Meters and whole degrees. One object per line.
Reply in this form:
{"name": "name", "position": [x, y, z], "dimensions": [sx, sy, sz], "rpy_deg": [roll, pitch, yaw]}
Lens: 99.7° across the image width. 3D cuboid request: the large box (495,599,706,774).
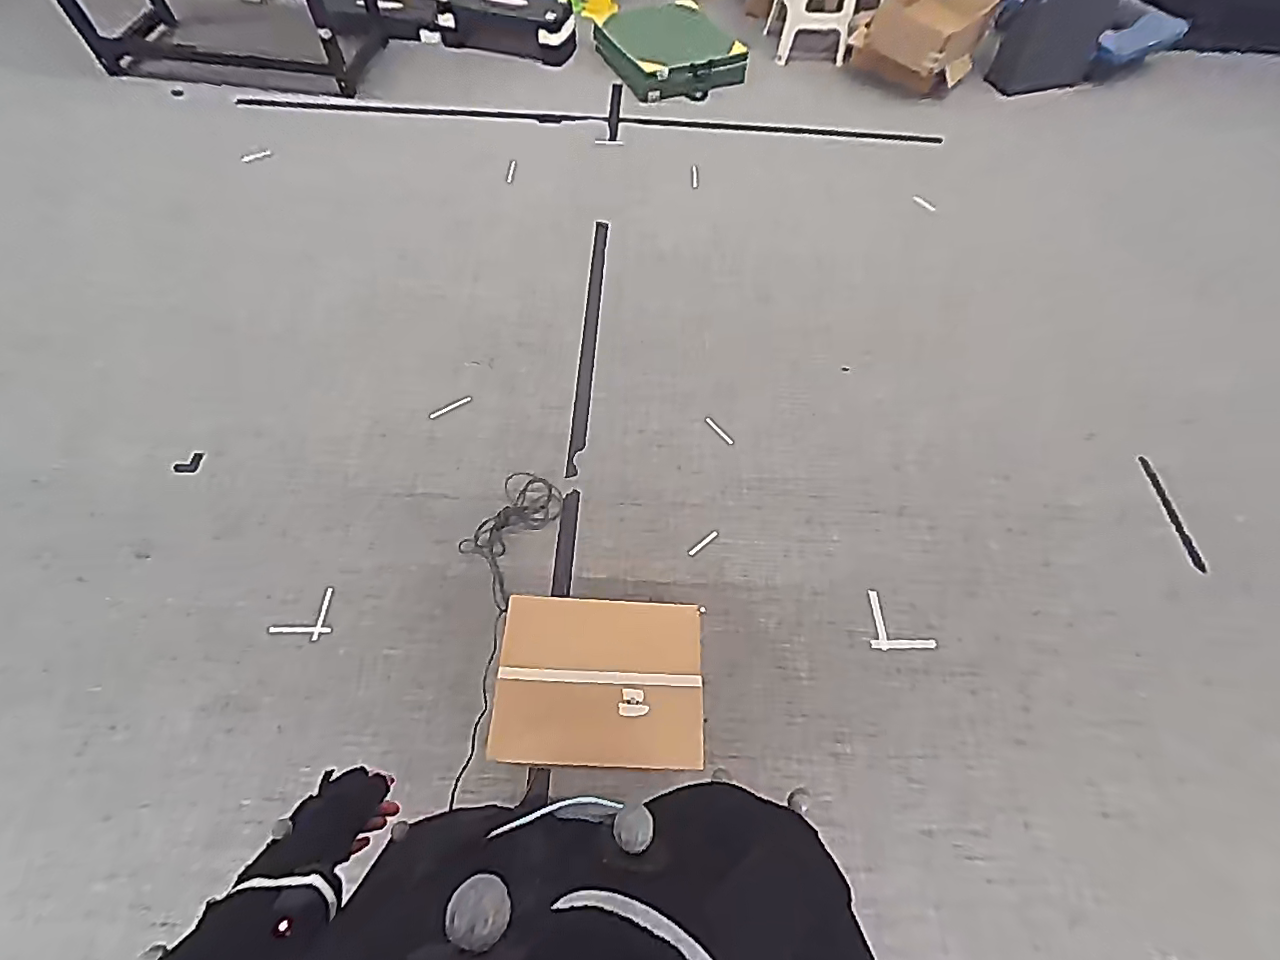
{"name": "large box", "position": [-0.081, 0.472, 1.205], "dimensions": [0.408, 0.320, 0.320], "rpy_deg": [5, 61, -3]}
